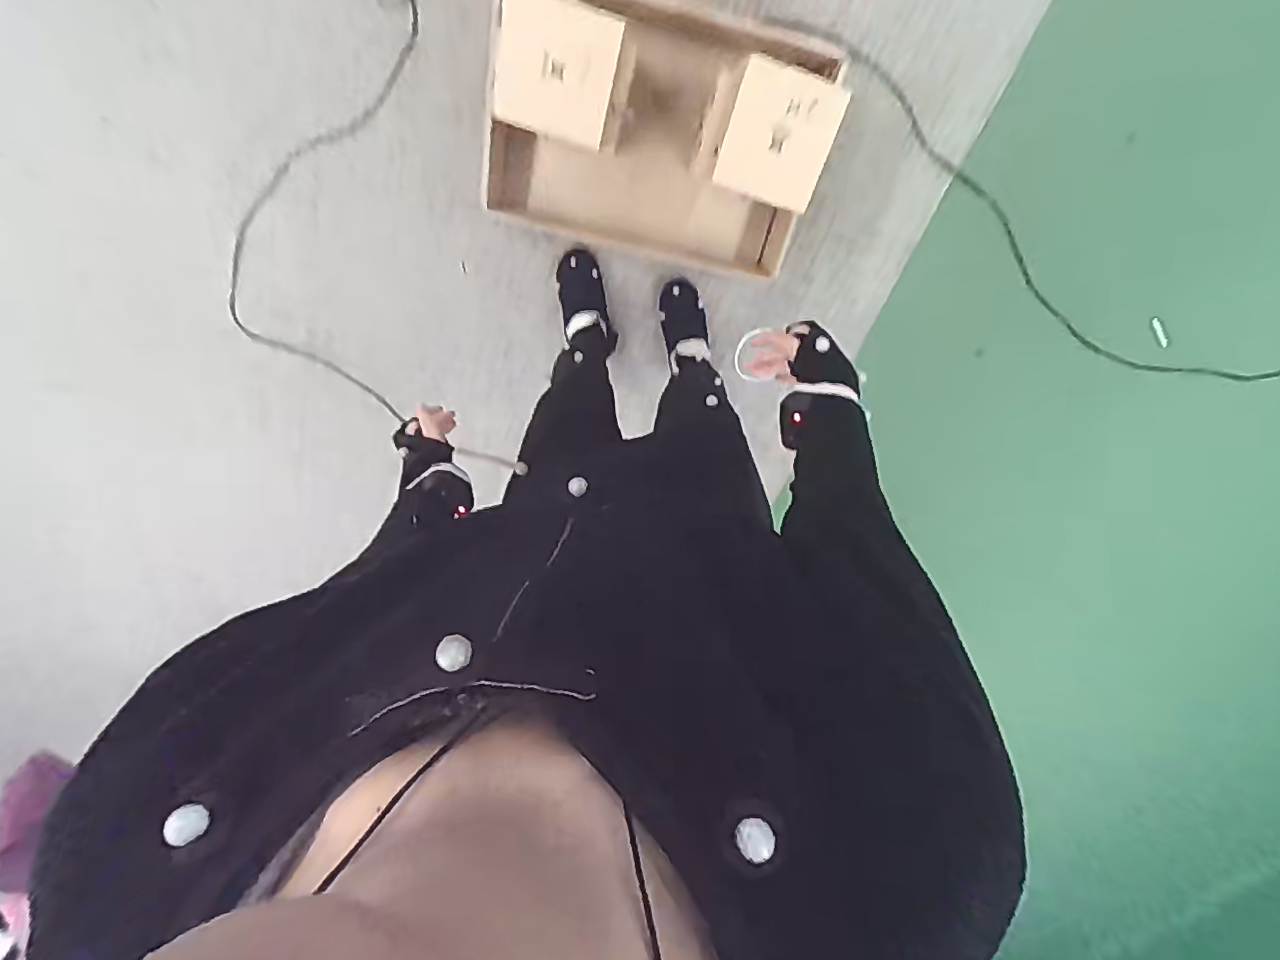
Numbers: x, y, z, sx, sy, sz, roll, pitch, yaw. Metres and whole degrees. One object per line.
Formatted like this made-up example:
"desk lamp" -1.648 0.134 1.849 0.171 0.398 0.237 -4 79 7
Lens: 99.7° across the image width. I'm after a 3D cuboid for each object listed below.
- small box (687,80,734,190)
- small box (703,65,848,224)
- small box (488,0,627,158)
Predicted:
"small box" 0.198 -0.640 1.050 0.179 0.176 0.168 15 119 -8
"small box" 0.213 -0.554 0.910 0.168 0.176 0.179 14 118 -9
"small box" -0.126 -0.632 0.867 0.179 0.176 0.168 15 120 -9
